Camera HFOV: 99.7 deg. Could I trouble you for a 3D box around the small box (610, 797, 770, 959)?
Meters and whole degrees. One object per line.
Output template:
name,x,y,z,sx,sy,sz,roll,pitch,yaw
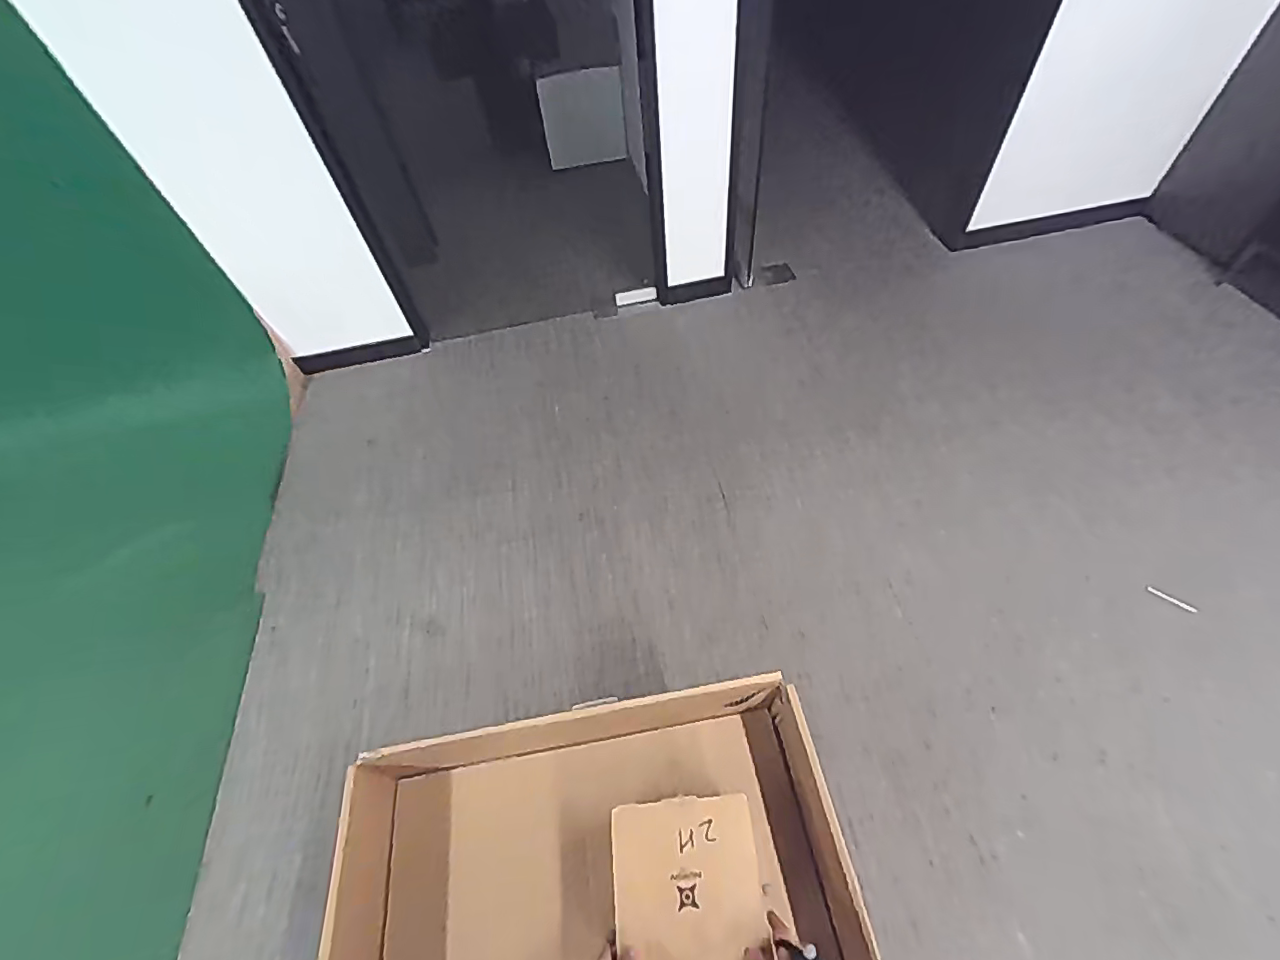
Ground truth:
small box,0.057,0.496,0.652,0.168,0.176,0.179,-6,53,2
